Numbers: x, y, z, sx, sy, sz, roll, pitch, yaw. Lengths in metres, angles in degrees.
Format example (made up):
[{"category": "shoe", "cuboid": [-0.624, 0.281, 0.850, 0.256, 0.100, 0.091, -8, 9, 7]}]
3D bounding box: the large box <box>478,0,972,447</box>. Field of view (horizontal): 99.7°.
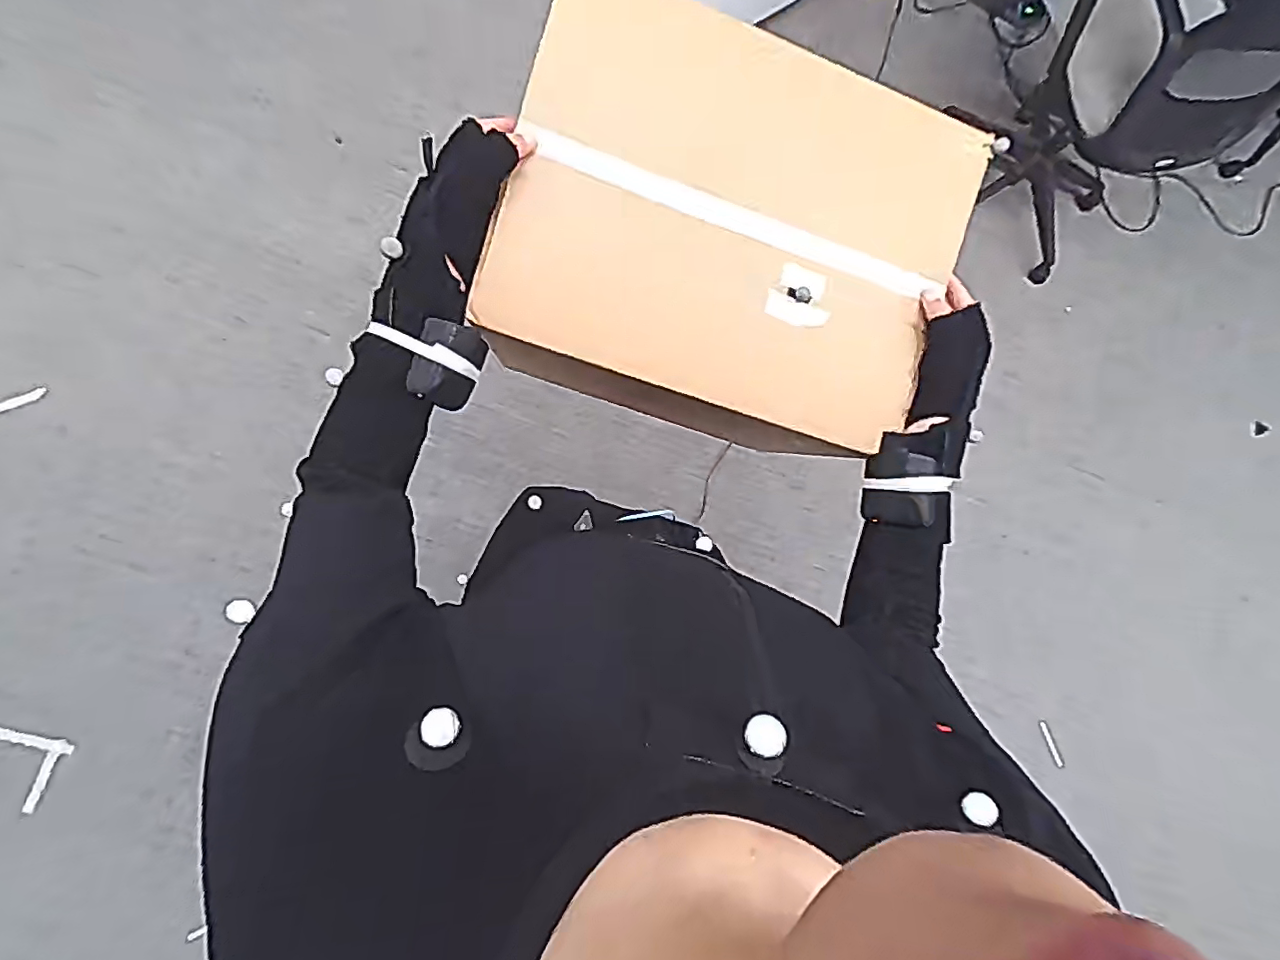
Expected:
[{"category": "large box", "cuboid": [0.063, -0.241, 0.630, 0.408, 0.320, 0.320, 17, 93, -11]}]
